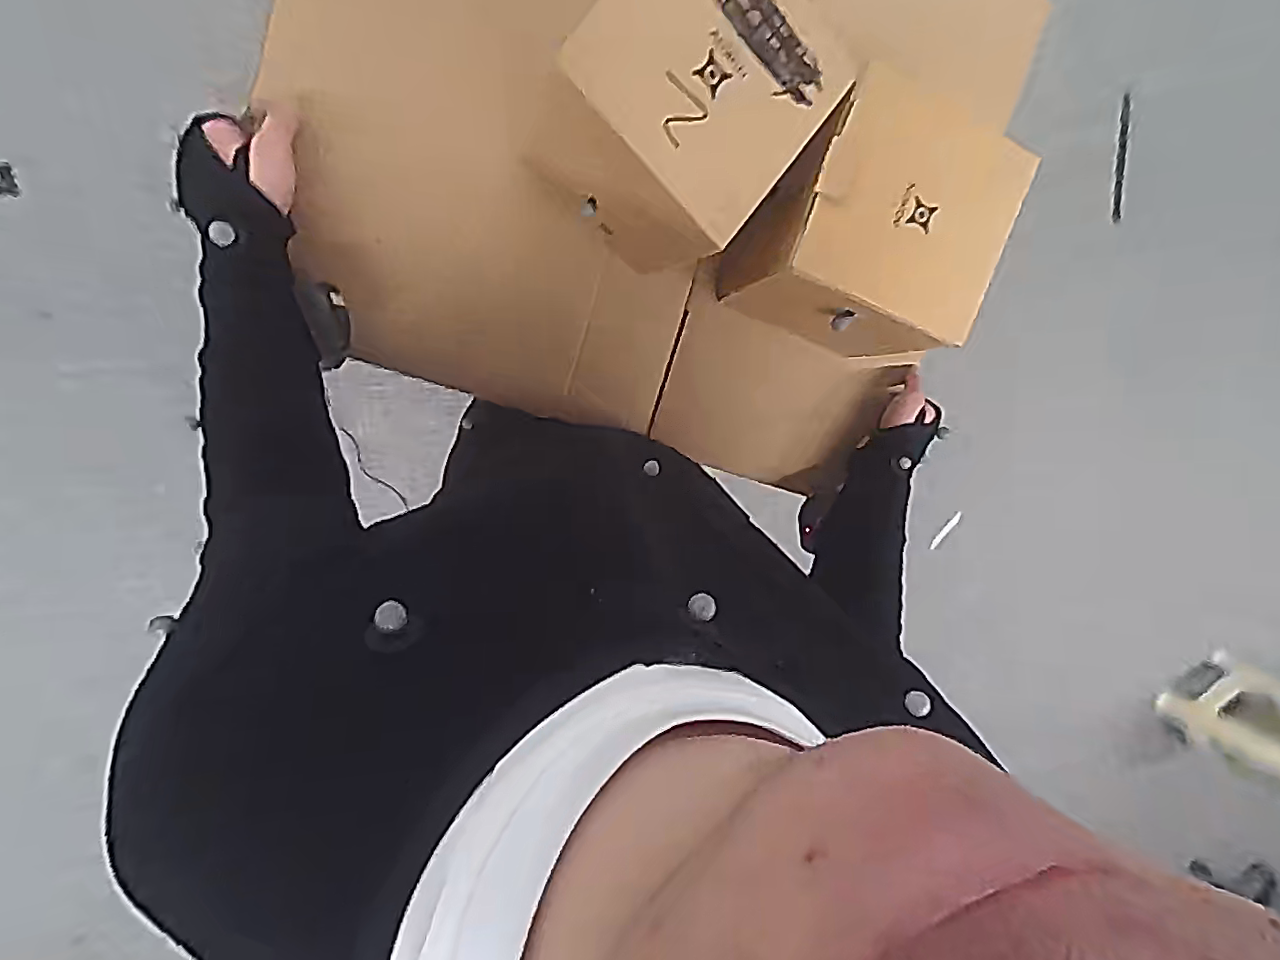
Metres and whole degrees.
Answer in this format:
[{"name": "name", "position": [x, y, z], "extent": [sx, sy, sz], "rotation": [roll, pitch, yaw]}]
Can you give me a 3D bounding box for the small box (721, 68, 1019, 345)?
[{"name": "small box", "position": [0.205, -0.239, 0.529], "extent": [0.179, 0.176, 0.168], "rotation": [17, 96, -13]}]
